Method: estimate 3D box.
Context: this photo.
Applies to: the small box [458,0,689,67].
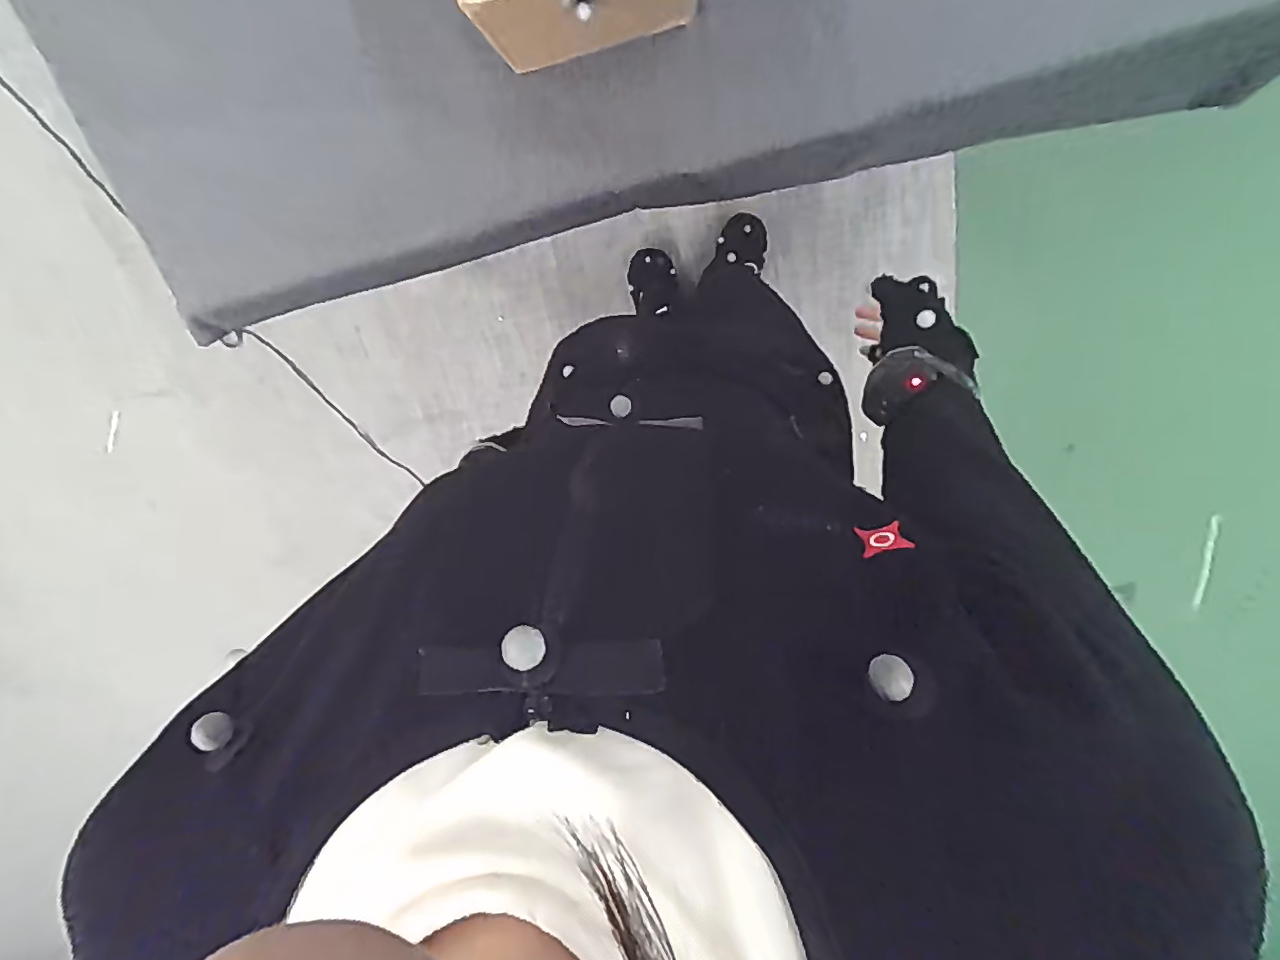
[{"bbox_3d":[-0.057,-0.451,0.411,0.179,0.176,0.168,-12,114,6],"label":"small box"}]
